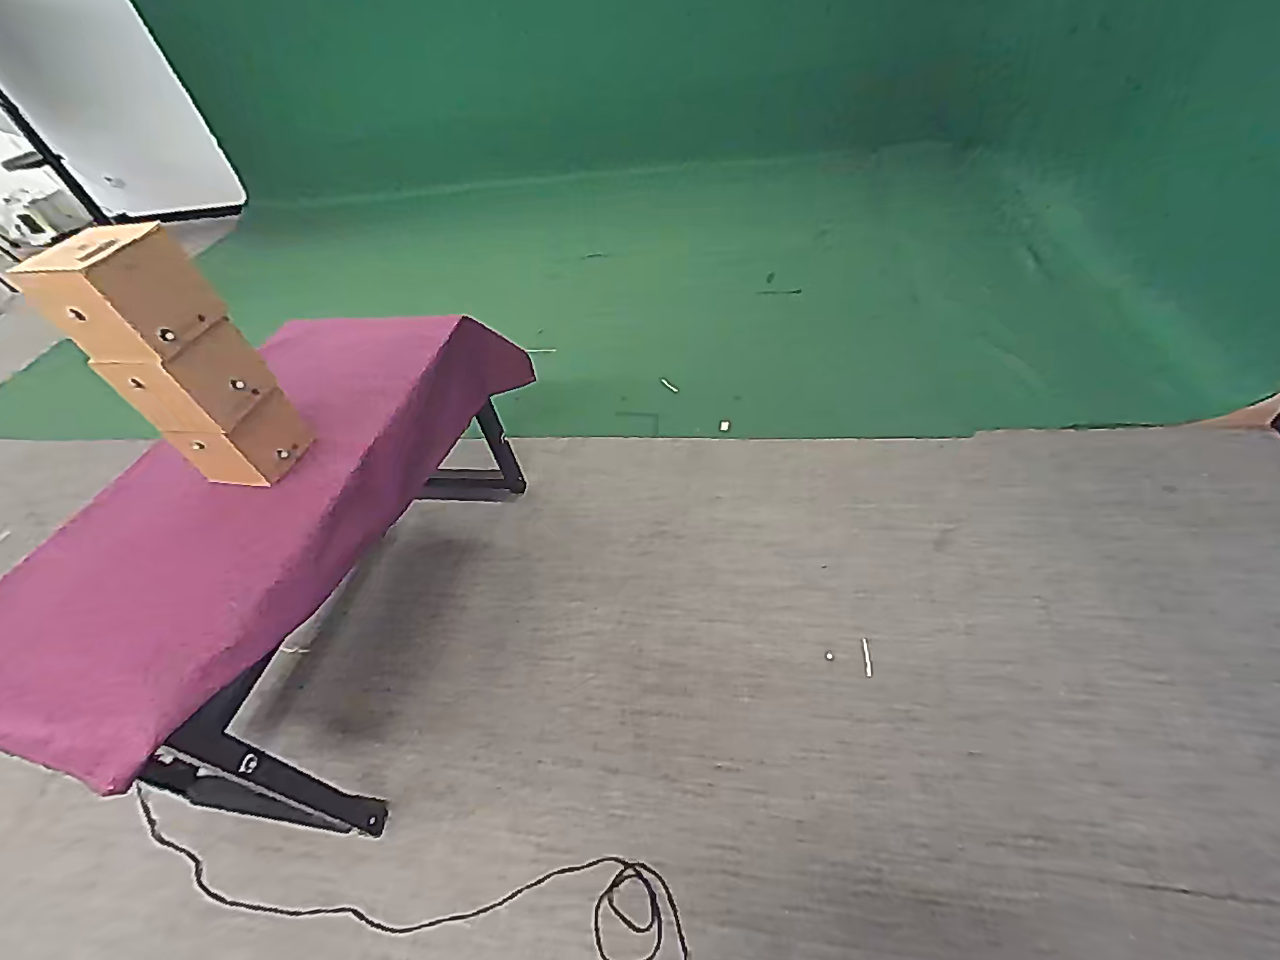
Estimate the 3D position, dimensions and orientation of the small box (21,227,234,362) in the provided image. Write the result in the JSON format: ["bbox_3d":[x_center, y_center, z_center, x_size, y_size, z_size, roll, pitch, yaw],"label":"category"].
[{"bbox_3d":[-0.881,-0.322,0.952,0.179,0.176,0.168,4,48,15],"label":"small box"}]

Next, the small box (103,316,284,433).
[{"bbox_3d":[-0.868,-0.208,1.070,0.179,0.176,0.168,4,49,14],"label":"small box"}]

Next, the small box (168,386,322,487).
[{"bbox_3d":[-0.860,-0.101,1.195,0.179,0.176,0.168,5,49,15],"label":"small box"}]
